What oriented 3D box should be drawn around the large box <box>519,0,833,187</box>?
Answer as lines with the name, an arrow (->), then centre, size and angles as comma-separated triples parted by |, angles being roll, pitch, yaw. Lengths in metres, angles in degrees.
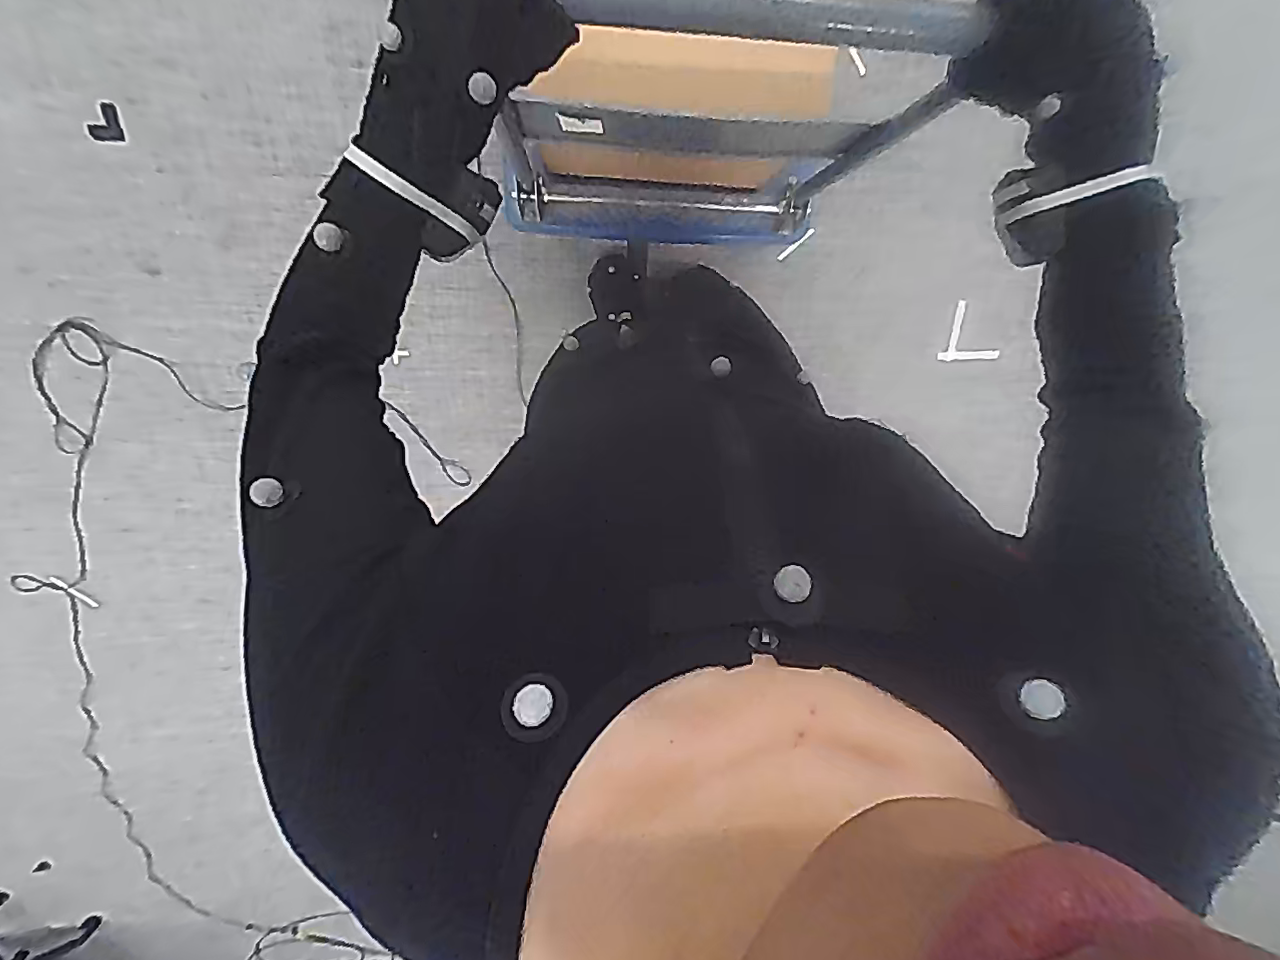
large box -> 0.035, -0.656, 0.810 | 0.408, 0.320, 0.320 | 1, 105, -6
